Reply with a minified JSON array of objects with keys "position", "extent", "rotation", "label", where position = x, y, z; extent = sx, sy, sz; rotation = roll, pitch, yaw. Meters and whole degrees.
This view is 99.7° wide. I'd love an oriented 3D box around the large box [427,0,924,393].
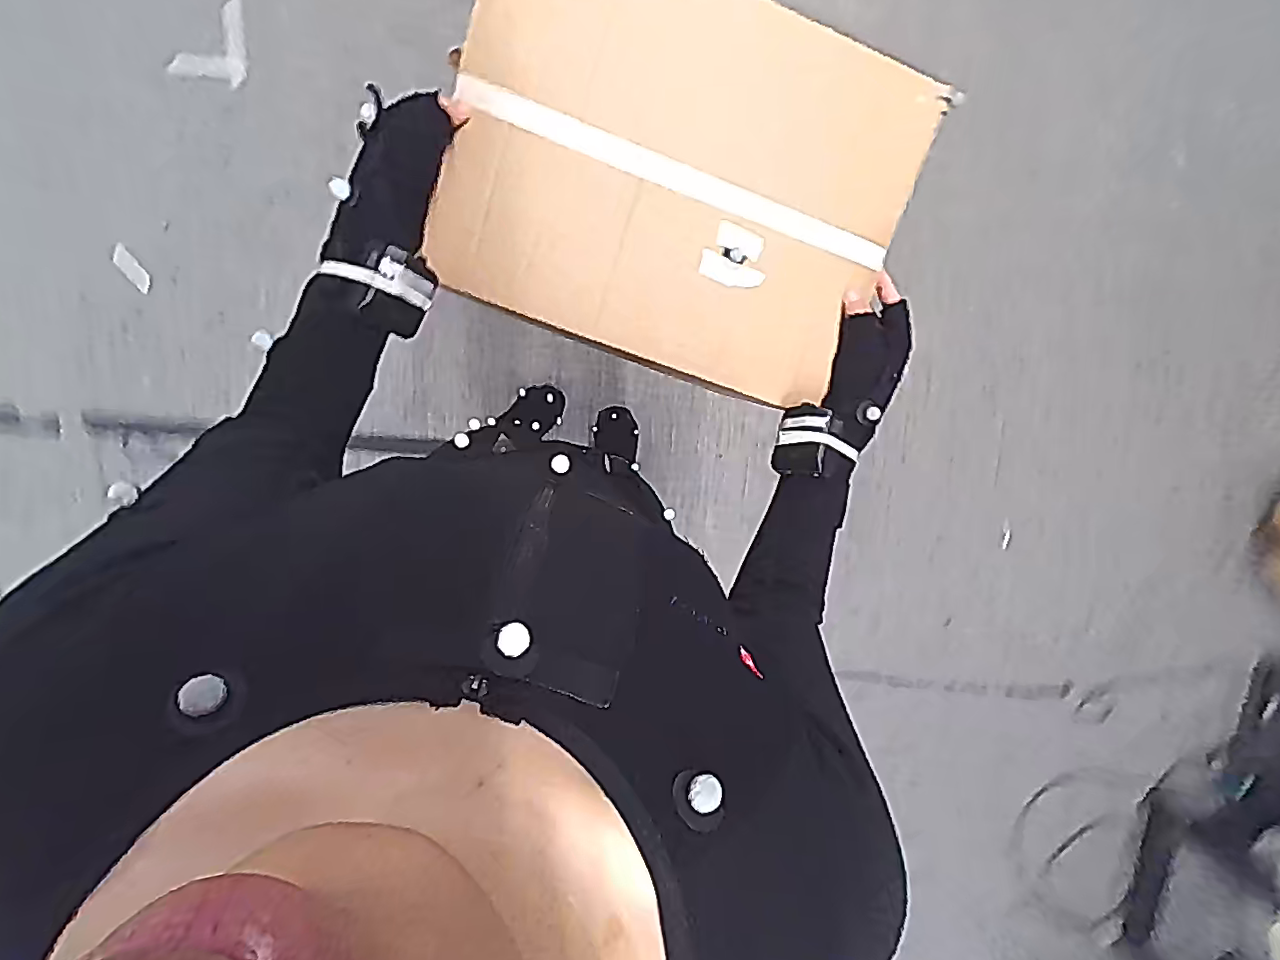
[{"position":[0.017,-0.314,0.641],"extent":[0.408,0.320,0.320],"rotation":[16,102,-9],"label":"large box"}]
